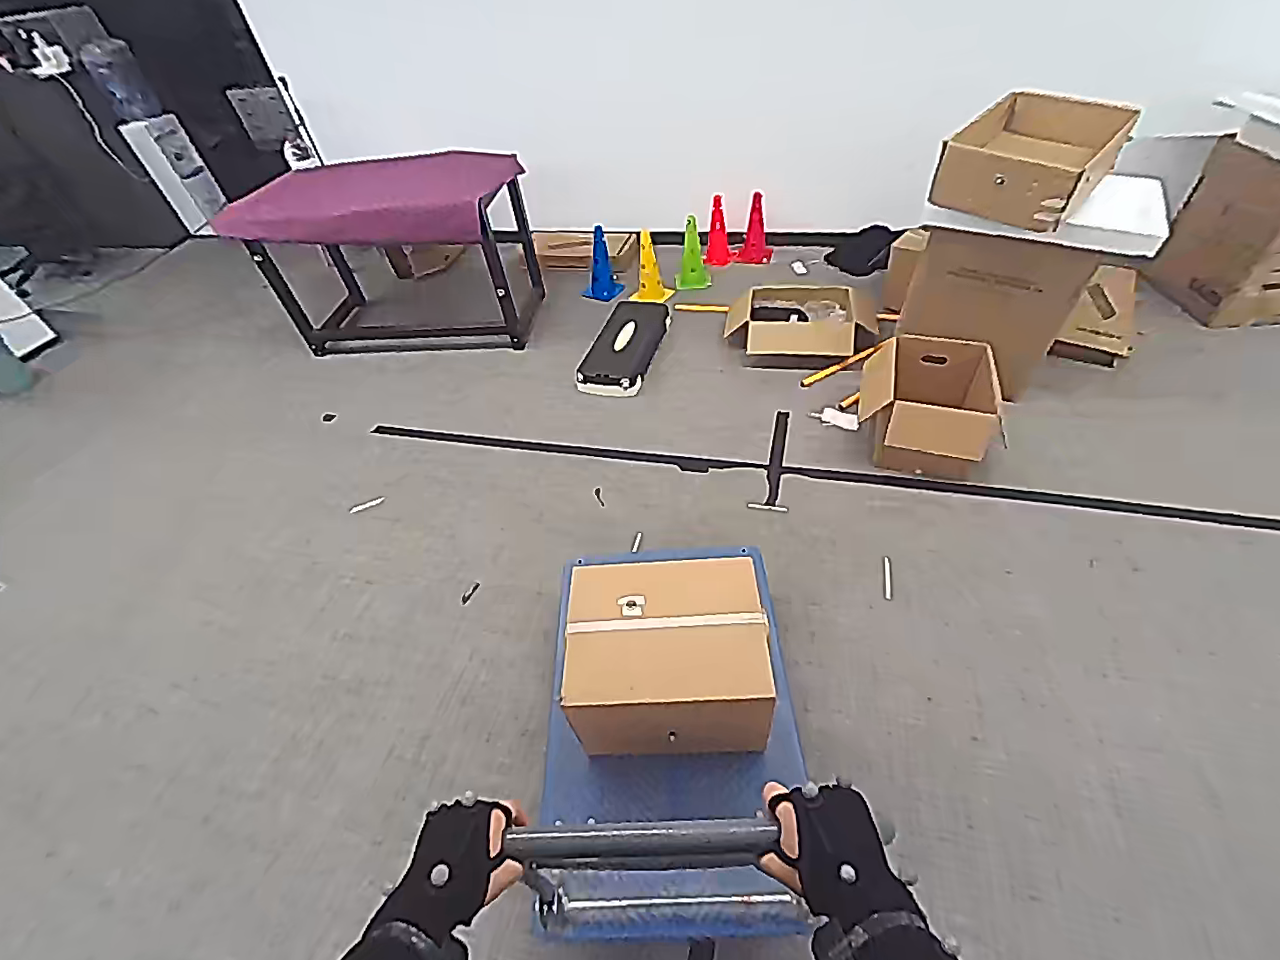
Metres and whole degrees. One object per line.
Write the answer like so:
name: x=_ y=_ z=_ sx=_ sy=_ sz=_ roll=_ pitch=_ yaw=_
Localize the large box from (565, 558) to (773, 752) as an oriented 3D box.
large box: x=0.068 y=0.406 z=1.235 sx=0.408 sy=0.320 sz=0.320 roll=-5 pitch=46 yaw=4
